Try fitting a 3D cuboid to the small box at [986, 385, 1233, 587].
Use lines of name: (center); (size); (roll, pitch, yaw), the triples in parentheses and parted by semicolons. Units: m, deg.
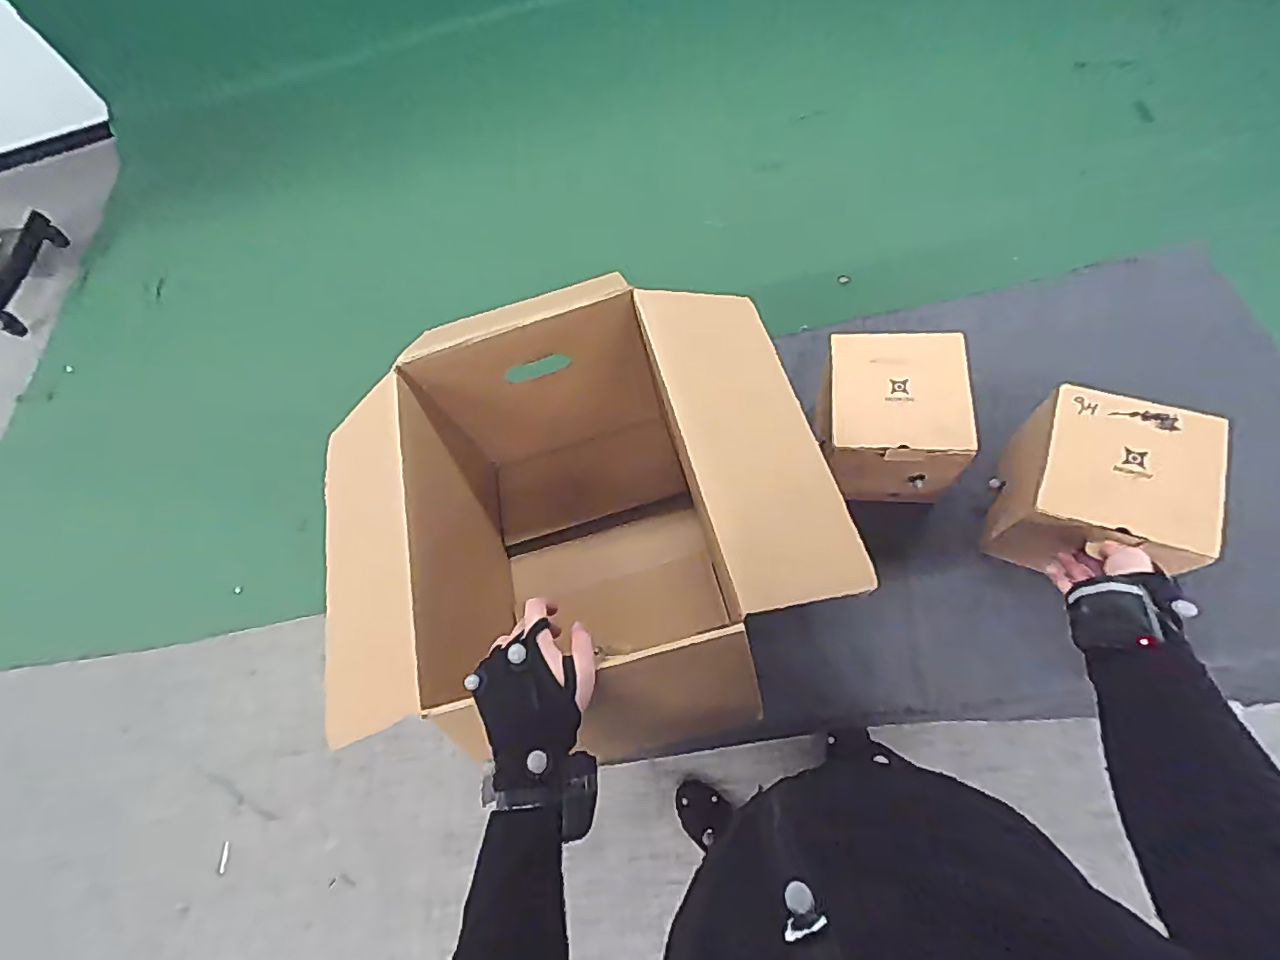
small box: (0.565, 0.016, 0.676); (0.168, 0.176, 0.179); (20, 73, 18)
